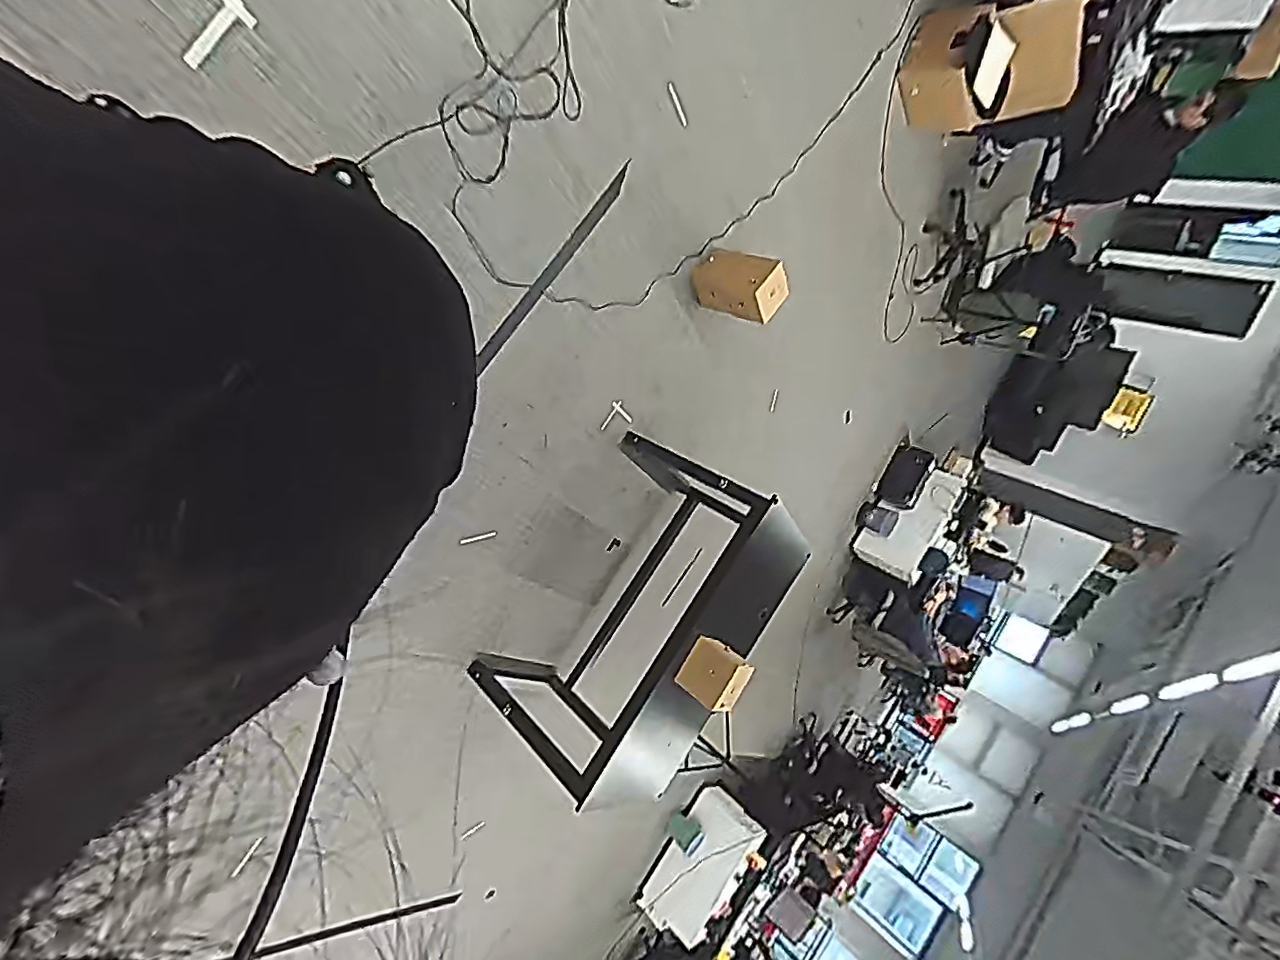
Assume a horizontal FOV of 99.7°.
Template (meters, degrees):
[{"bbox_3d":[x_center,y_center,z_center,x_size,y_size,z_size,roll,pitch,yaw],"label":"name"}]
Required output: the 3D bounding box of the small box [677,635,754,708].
[{"bbox_3d":[0.257,0.653,1.846,0.179,0.176,0.168,-60,143,-3],"label":"small box"}]

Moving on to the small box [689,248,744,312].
[{"bbox_3d":[0.328,-0.817,2.197,0.168,0.176,0.179,-51,141,-13],"label":"small box"}]

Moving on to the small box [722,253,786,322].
[{"bbox_3d":[0.435,-0.748,2.092,0.179,0.176,0.168,-53,143,-11],"label":"small box"}]
